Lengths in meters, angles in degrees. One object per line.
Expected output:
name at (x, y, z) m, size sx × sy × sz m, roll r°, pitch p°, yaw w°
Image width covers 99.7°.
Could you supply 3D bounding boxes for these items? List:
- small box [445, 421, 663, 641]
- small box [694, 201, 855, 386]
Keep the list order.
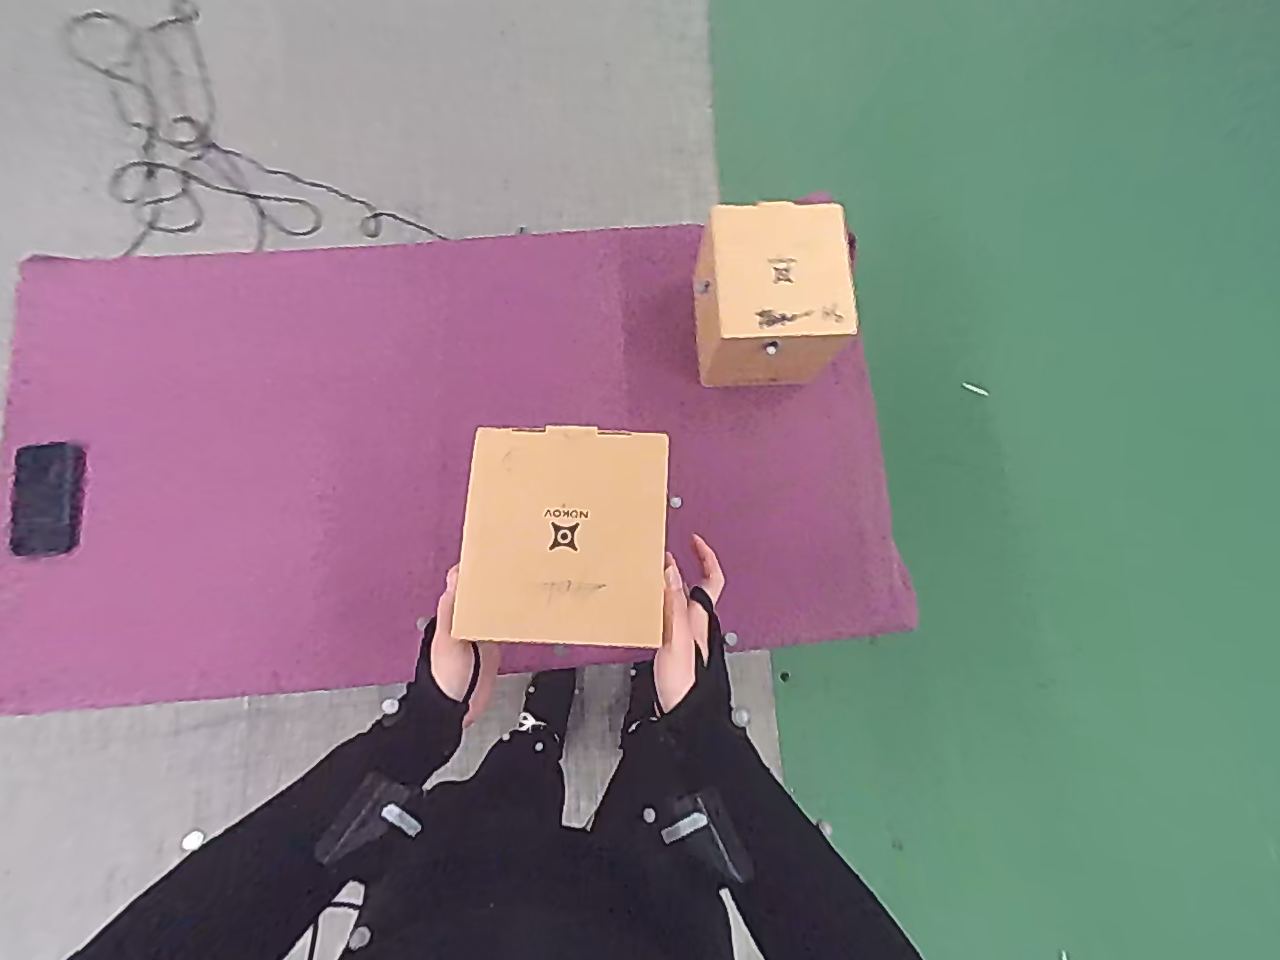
small box at (-0.065, 0.056, 0.513) m, size 0.168 × 0.176 × 0.179 m, roll 1°, pitch 77°, yaw 2°
small box at (0.166, -0.241, 0.727) m, size 0.168 × 0.176 × 0.179 m, roll -3°, pitch 79°, yaw -1°
